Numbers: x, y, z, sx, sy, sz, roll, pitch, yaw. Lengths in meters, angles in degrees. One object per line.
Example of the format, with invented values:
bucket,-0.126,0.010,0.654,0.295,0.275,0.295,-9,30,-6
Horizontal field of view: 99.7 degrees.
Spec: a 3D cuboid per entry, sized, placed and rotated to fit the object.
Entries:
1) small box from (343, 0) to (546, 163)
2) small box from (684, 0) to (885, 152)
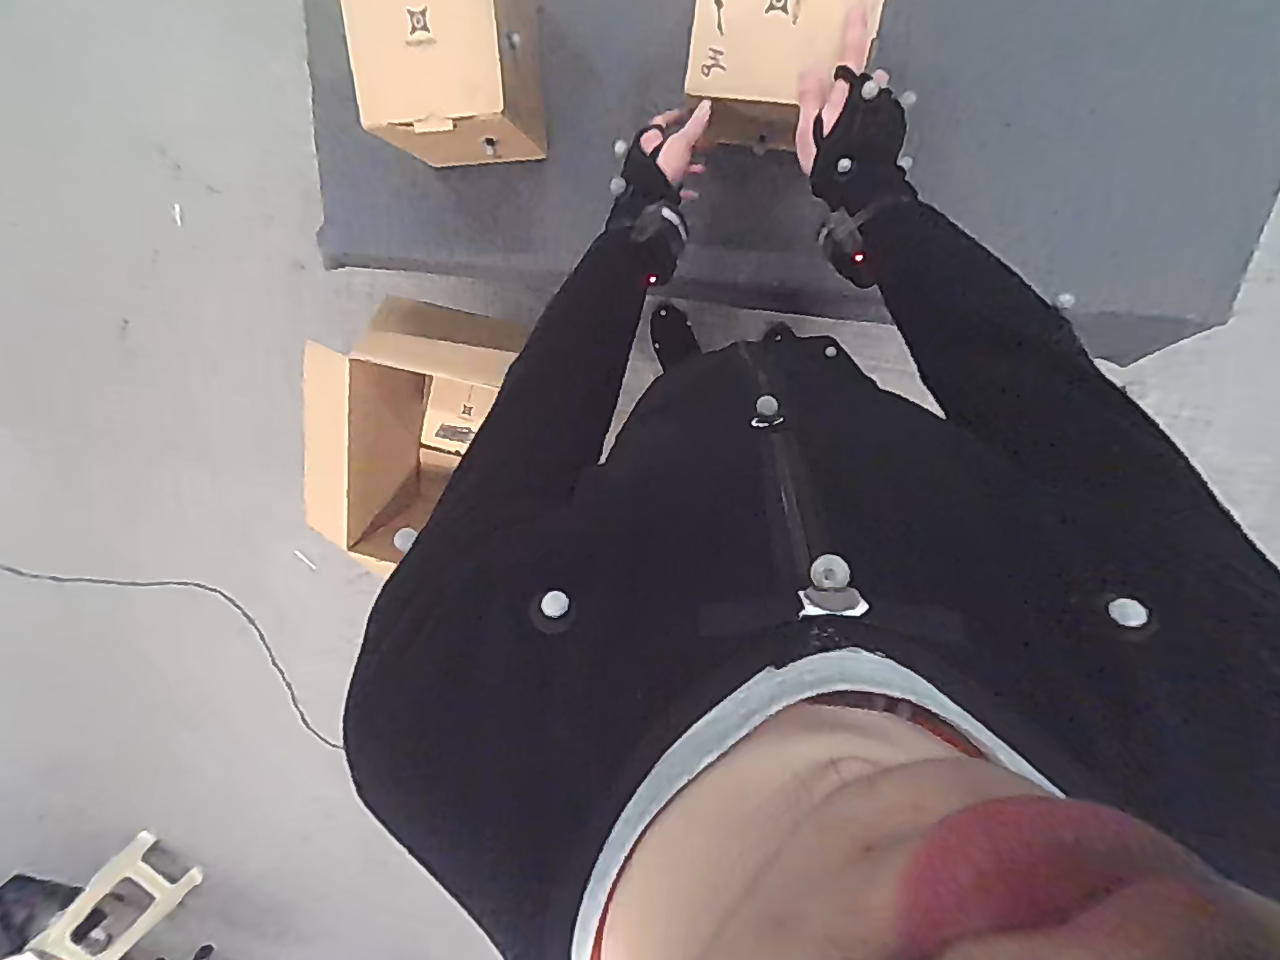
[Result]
small box,-0.217,-0.491,0.636,0.168,0.176,0.179,-1,106,7
small box,0.149,-0.474,0.585,0.179,0.176,0.168,10,108,4
